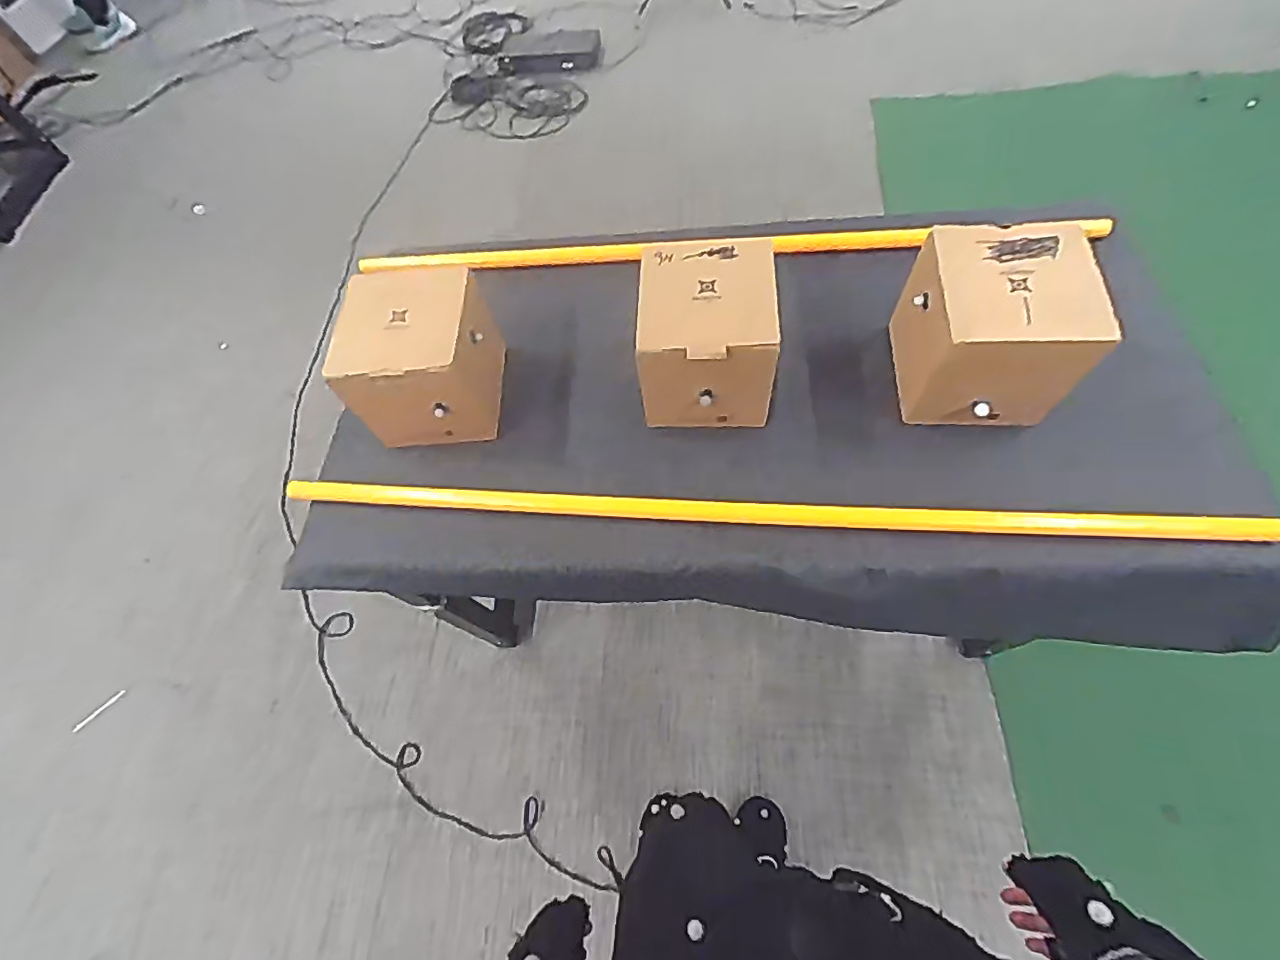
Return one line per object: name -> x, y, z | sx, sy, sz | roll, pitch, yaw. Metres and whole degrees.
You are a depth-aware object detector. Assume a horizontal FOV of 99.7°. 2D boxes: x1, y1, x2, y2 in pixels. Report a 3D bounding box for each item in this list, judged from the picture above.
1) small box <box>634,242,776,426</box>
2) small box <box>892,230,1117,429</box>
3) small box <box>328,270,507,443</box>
small box -> 0.087, -0.184, 0.725 | 0.168, 0.176, 0.179 | -3, 62, 7
small box -> 0.430, -0.183, 0.677 | 0.168, 0.176, 0.179 | 2, 64, 8
small box -> -0.296, -0.163, 0.762 | 0.168, 0.176, 0.179 | -4, 61, 3
